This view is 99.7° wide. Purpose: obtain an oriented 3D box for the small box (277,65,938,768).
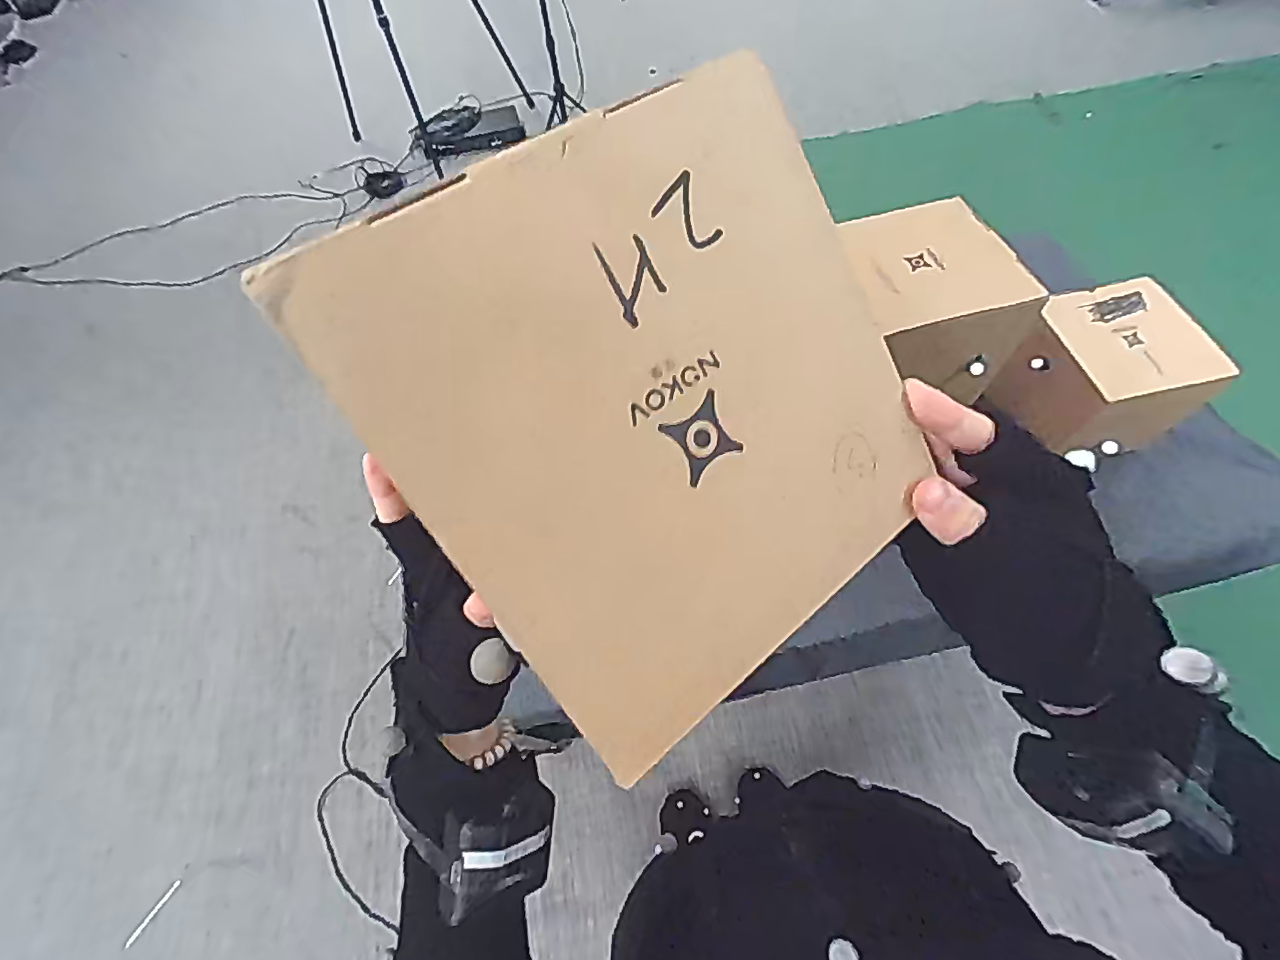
[{"bbox_3d":[-0.014,-0.026,0.248,0.168,0.176,0.179,-35,106,-17],"label":"small box"}]
